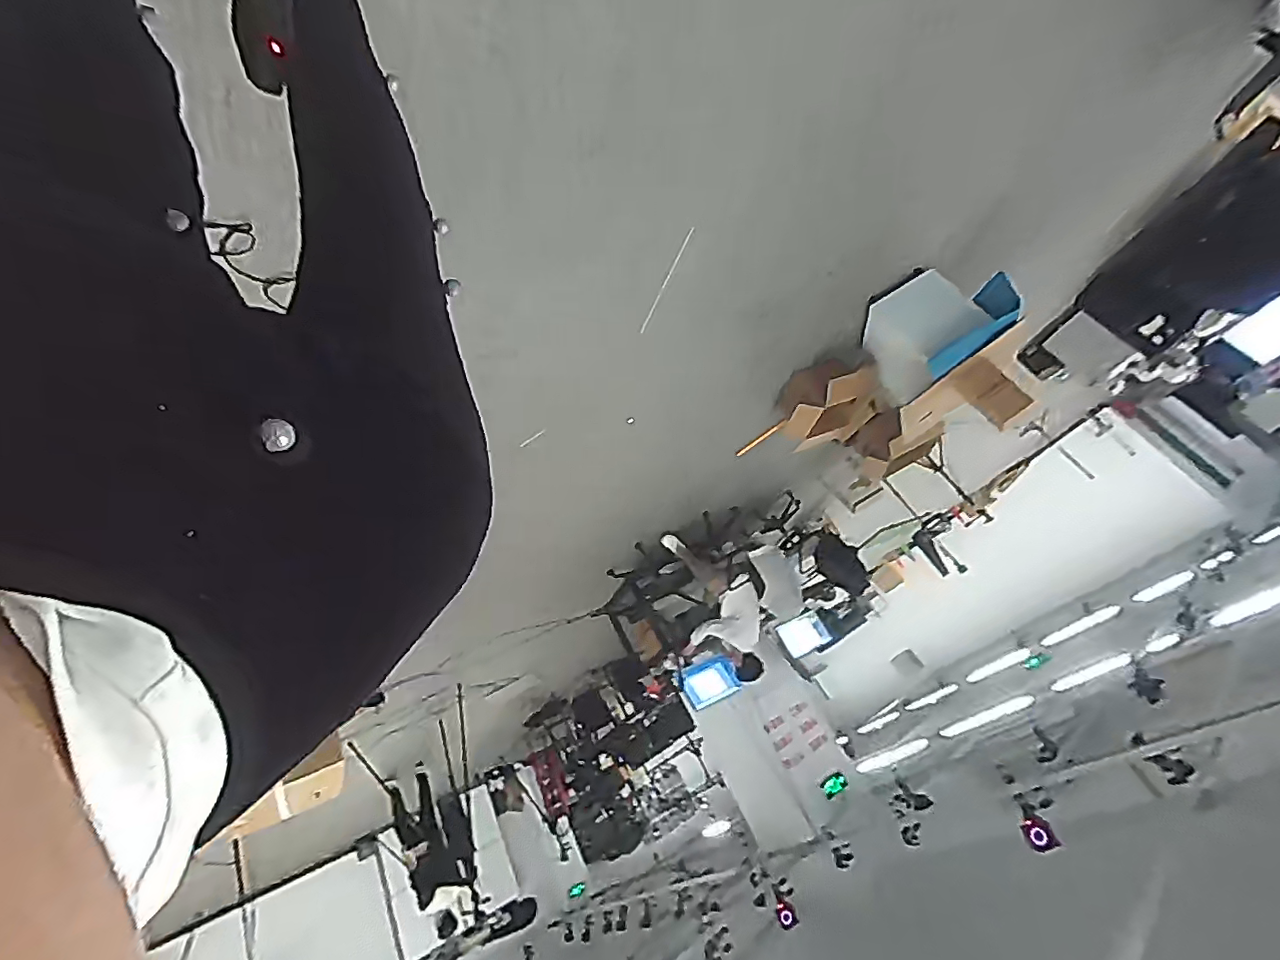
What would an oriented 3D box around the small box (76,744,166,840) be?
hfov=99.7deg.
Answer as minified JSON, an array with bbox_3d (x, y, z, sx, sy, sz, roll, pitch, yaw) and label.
[{"bbox_3d":[-1.477,0.886,1.545,0.168,0.176,0.179,-9,146,-39],"label":"small box"}]
